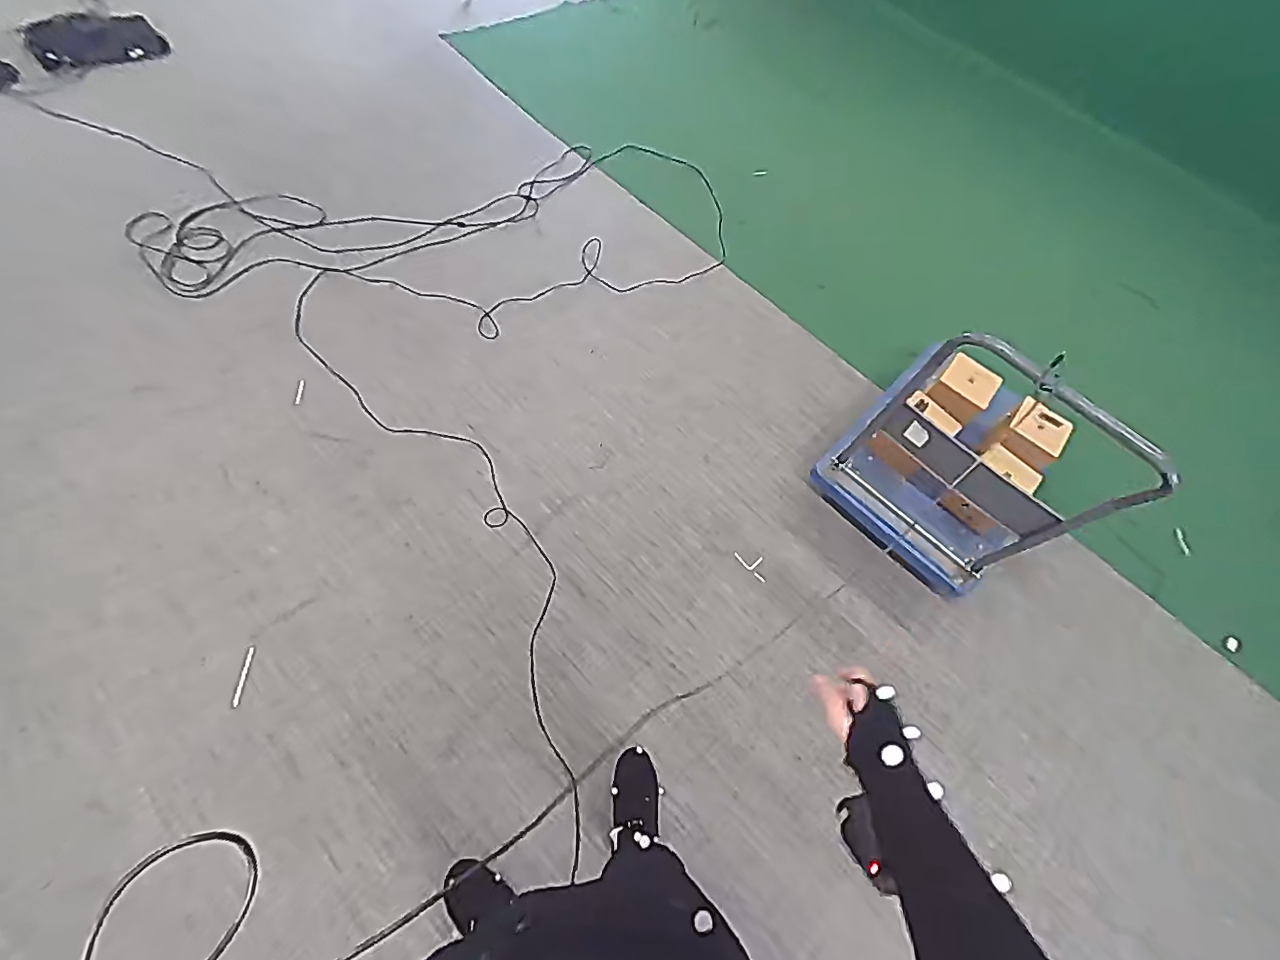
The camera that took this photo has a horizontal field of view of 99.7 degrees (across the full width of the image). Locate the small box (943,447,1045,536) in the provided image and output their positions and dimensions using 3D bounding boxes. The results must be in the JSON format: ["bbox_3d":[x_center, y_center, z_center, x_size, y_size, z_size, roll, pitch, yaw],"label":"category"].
[{"bbox_3d":[1.073,0.039,1.651,0.179,0.176,0.168,-39,73,-24],"label":"small box"}]

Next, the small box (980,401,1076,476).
[{"bbox_3d":[1.260,-0.119,1.766,0.168,0.176,0.179,39,64,14],"label":"small box"}]

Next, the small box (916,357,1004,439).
[{"bbox_3d":[1.069,-0.272,1.823,0.168,0.176,0.179,40,63,12],"label":"small box"}]
